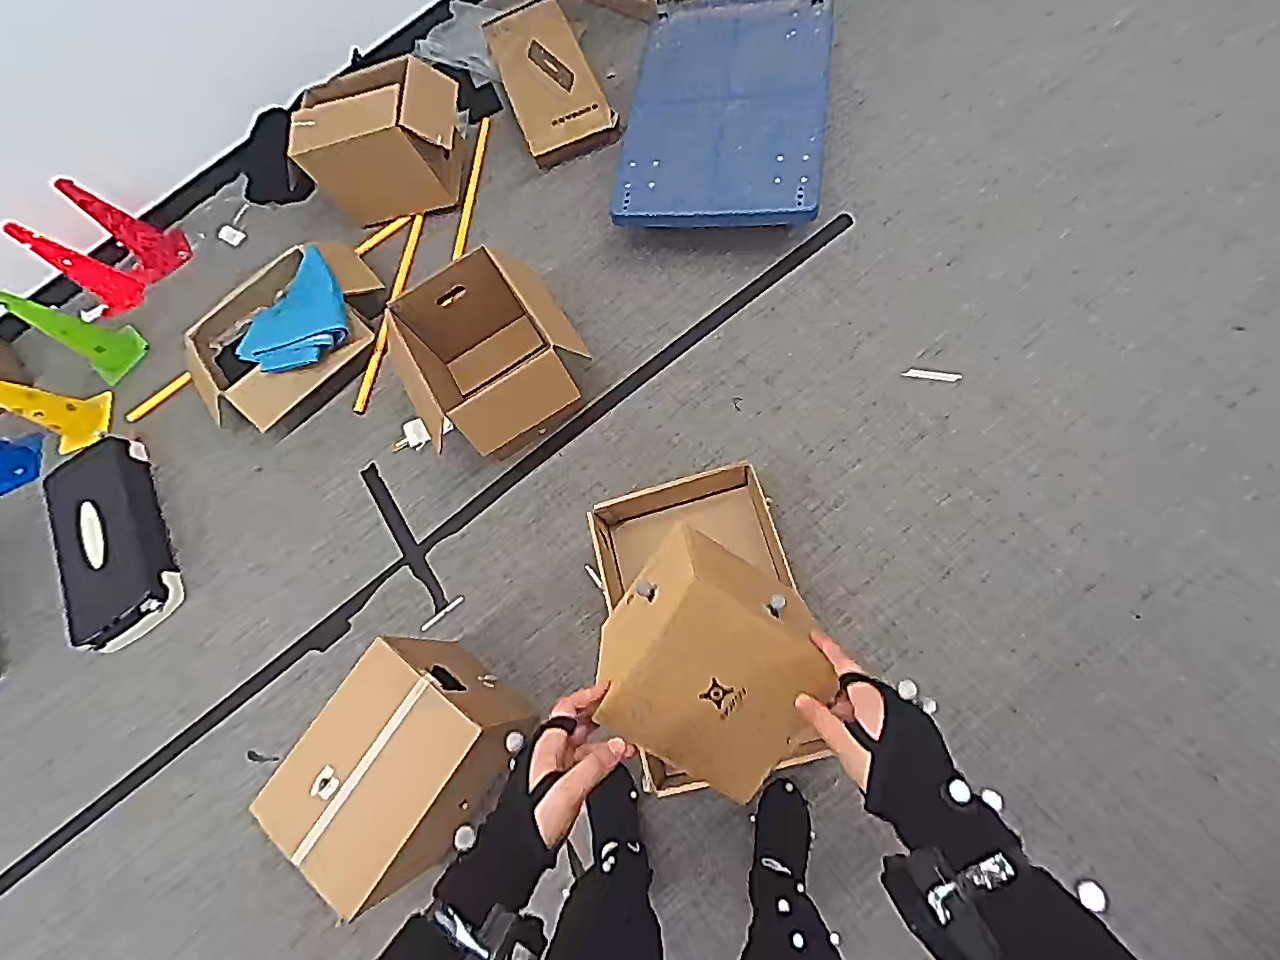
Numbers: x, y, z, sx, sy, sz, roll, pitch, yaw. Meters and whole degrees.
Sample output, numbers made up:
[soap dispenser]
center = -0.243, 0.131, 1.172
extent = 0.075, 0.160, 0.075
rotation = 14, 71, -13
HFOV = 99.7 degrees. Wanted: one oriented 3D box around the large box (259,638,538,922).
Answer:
[large box]
center = -0.498, 0.606, 1.190
extent = 0.320, 0.320, 0.408
rotation = 31, 81, 20
